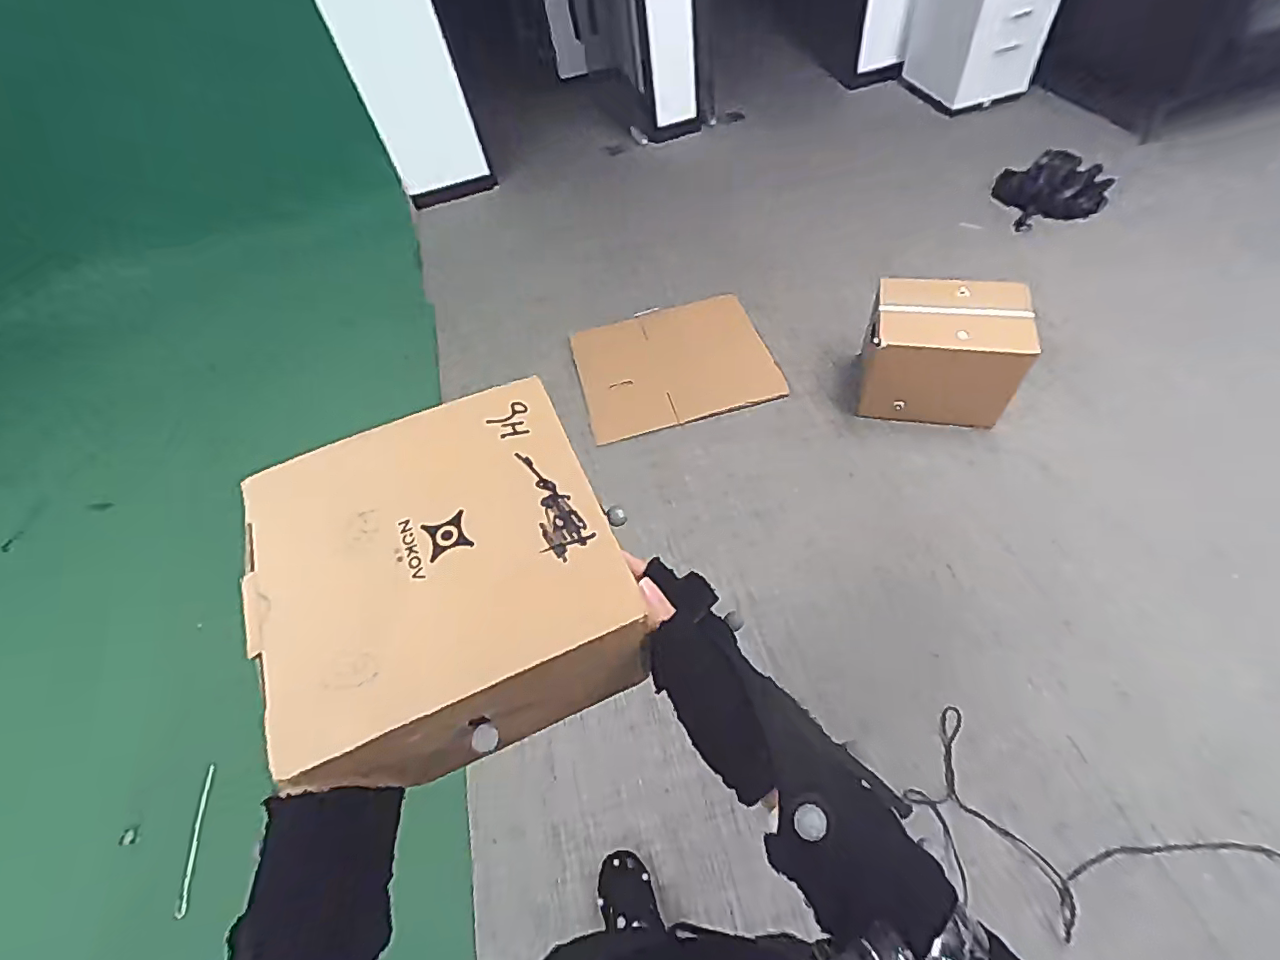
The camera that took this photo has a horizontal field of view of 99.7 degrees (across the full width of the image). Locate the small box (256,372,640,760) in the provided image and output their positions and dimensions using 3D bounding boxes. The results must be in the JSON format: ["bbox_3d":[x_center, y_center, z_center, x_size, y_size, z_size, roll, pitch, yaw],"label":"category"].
[{"bbox_3d":[-0.111,0.066,0.364,0.179,0.176,0.168,-24,61,-12],"label":"small box"}]
